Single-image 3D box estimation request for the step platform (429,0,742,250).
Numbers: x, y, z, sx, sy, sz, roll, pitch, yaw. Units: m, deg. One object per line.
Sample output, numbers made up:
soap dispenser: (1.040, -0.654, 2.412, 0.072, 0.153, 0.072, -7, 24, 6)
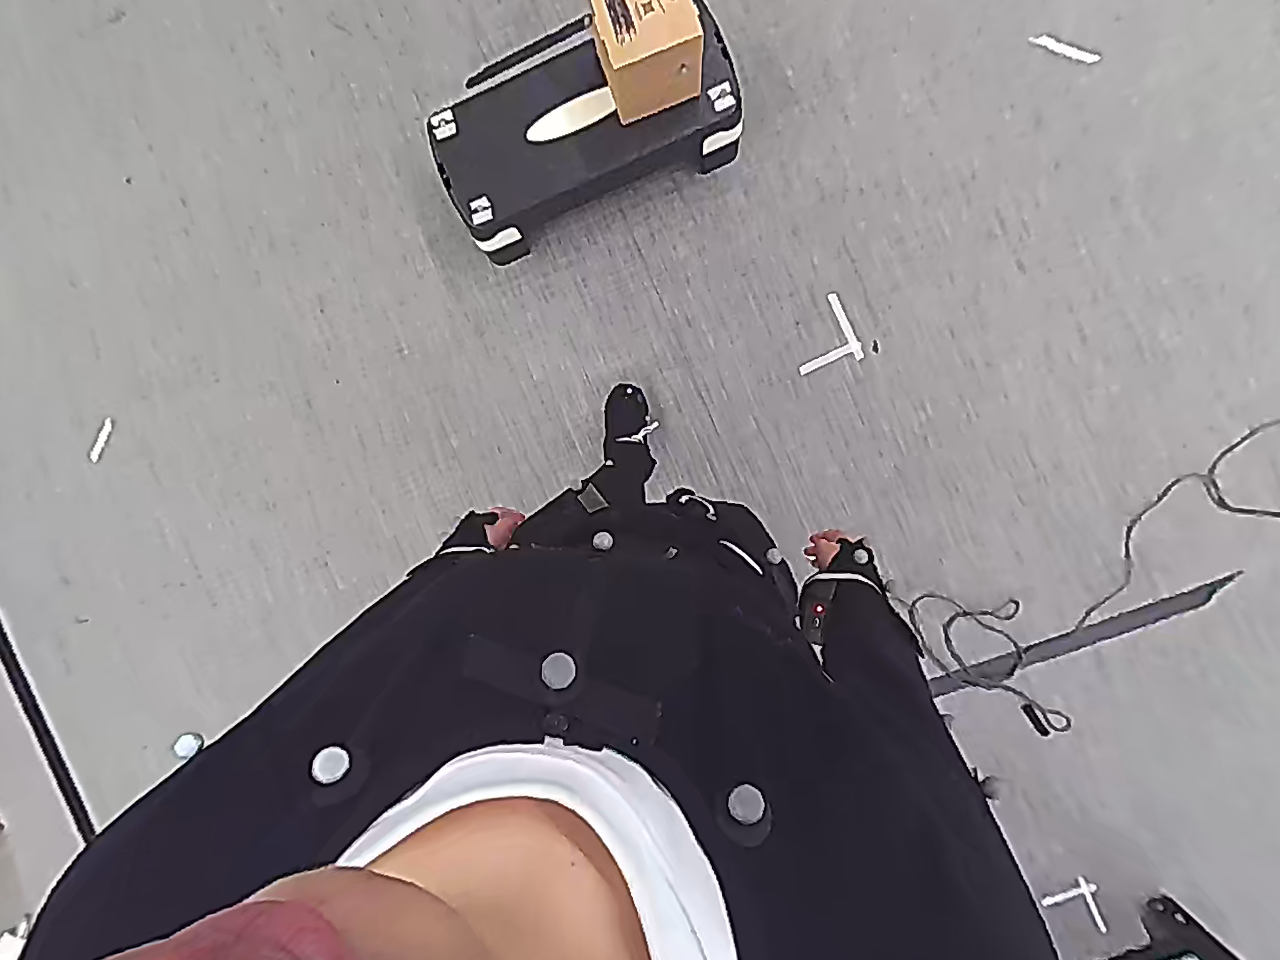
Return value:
step platform: (-0.118, -0.809, 1.233, 0.684, 0.204, 0.286, -23, 91, 5)
